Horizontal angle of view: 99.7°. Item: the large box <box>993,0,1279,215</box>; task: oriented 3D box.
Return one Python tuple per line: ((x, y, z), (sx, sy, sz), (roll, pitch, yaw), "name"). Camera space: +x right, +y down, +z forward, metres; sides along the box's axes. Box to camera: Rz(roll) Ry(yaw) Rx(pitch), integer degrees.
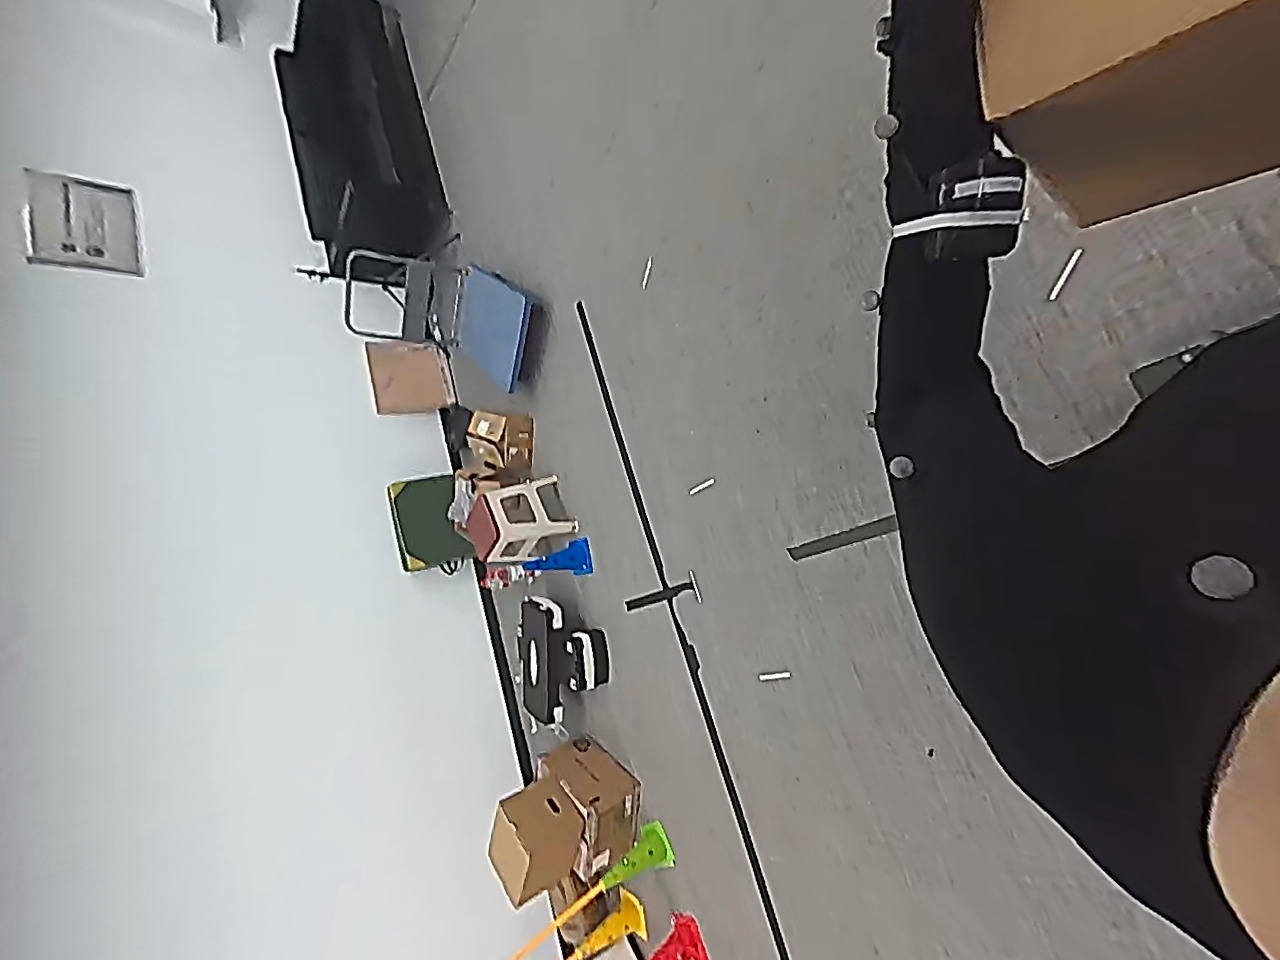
((0.477, -0.427, 0.324), (0.408, 0.320, 0.320), (-4, 92, 48), "large box")
